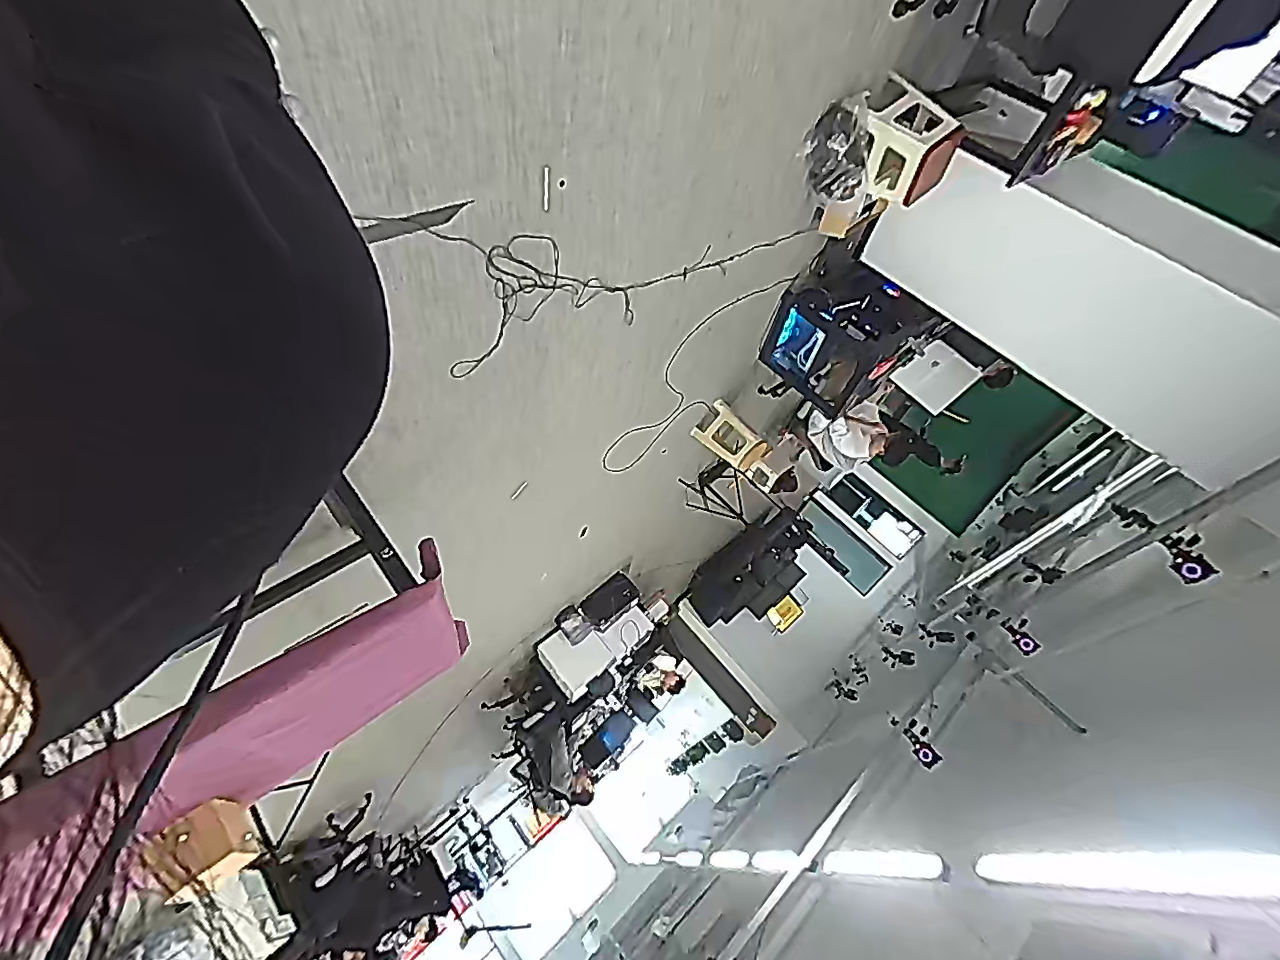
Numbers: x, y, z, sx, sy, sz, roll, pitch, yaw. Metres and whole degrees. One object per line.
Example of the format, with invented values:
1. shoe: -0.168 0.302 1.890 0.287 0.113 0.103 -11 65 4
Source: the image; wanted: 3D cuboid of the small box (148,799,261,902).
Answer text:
1. small box: -1.200 1.020 1.496 0.168 0.176 0.179 -34 156 -29
